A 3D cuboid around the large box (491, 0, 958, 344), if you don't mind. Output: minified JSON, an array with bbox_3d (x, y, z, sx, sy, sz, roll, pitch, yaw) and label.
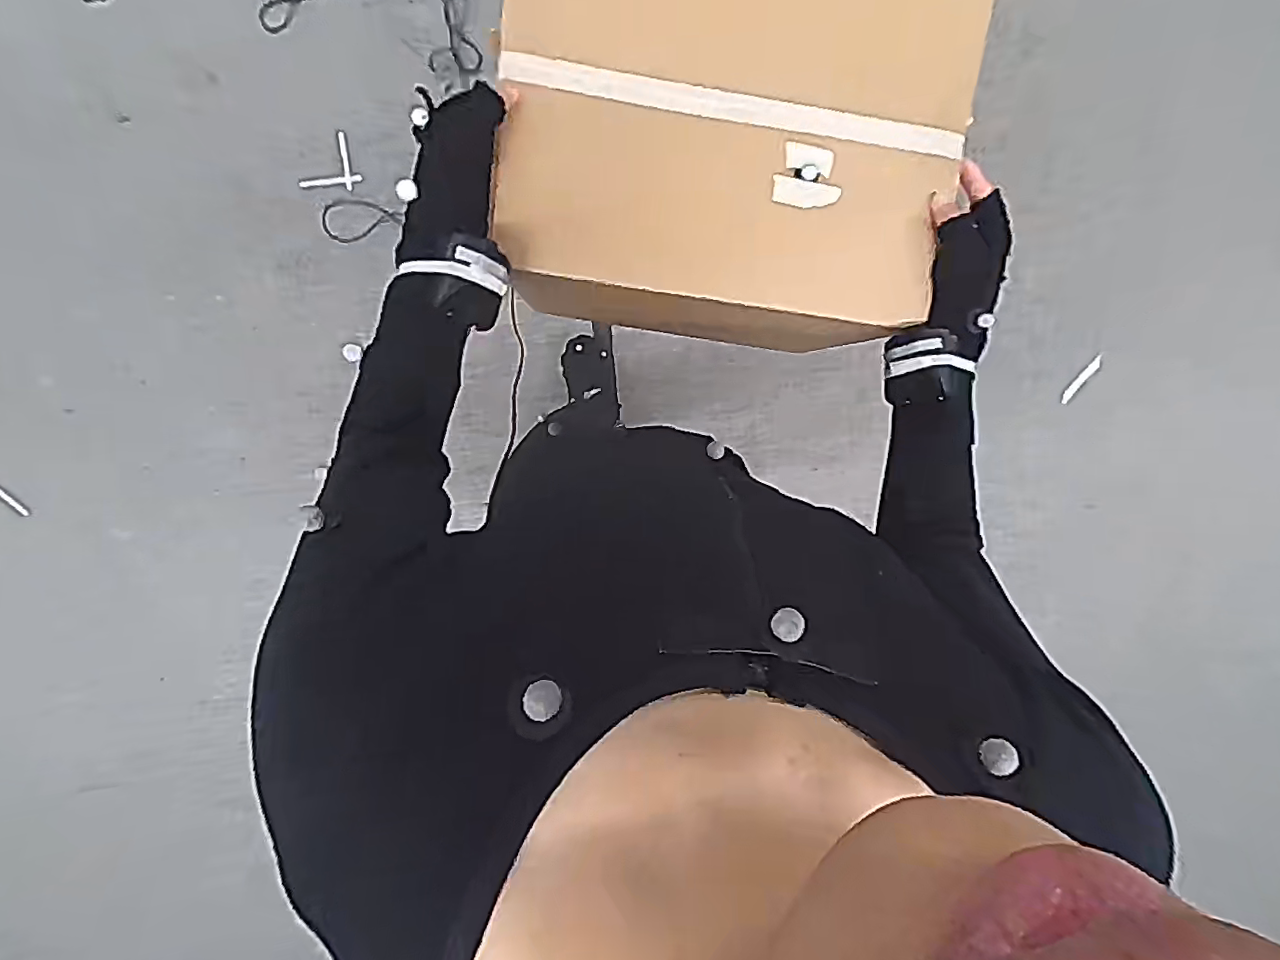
[{"bbox_3d":[0.062,-0.346,0.628,0.408,0.320,0.320,6,99,-5],"label":"large box"}]
